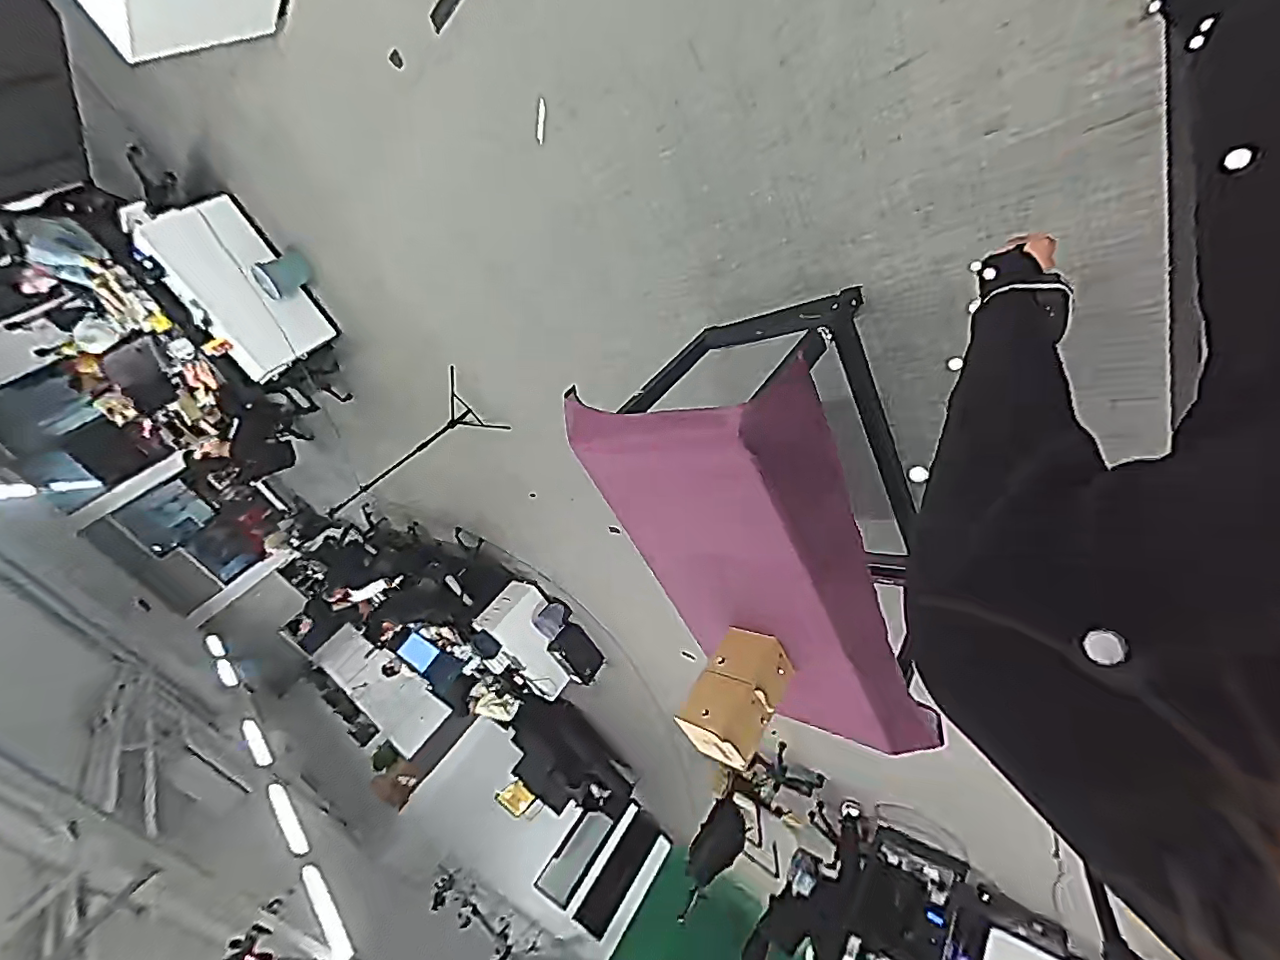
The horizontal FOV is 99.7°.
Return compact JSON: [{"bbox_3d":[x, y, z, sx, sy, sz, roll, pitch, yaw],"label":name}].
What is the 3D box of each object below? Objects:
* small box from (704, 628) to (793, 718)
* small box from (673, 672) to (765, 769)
[{"bbox_3d":[0.329,0.573,1.628,0.179,0.176,0.168,-1,129,47],"label":"small box"},{"bbox_3d":[0.235,0.677,1.543,0.179,0.176,0.168,-5,125,51],"label":"small box"}]
